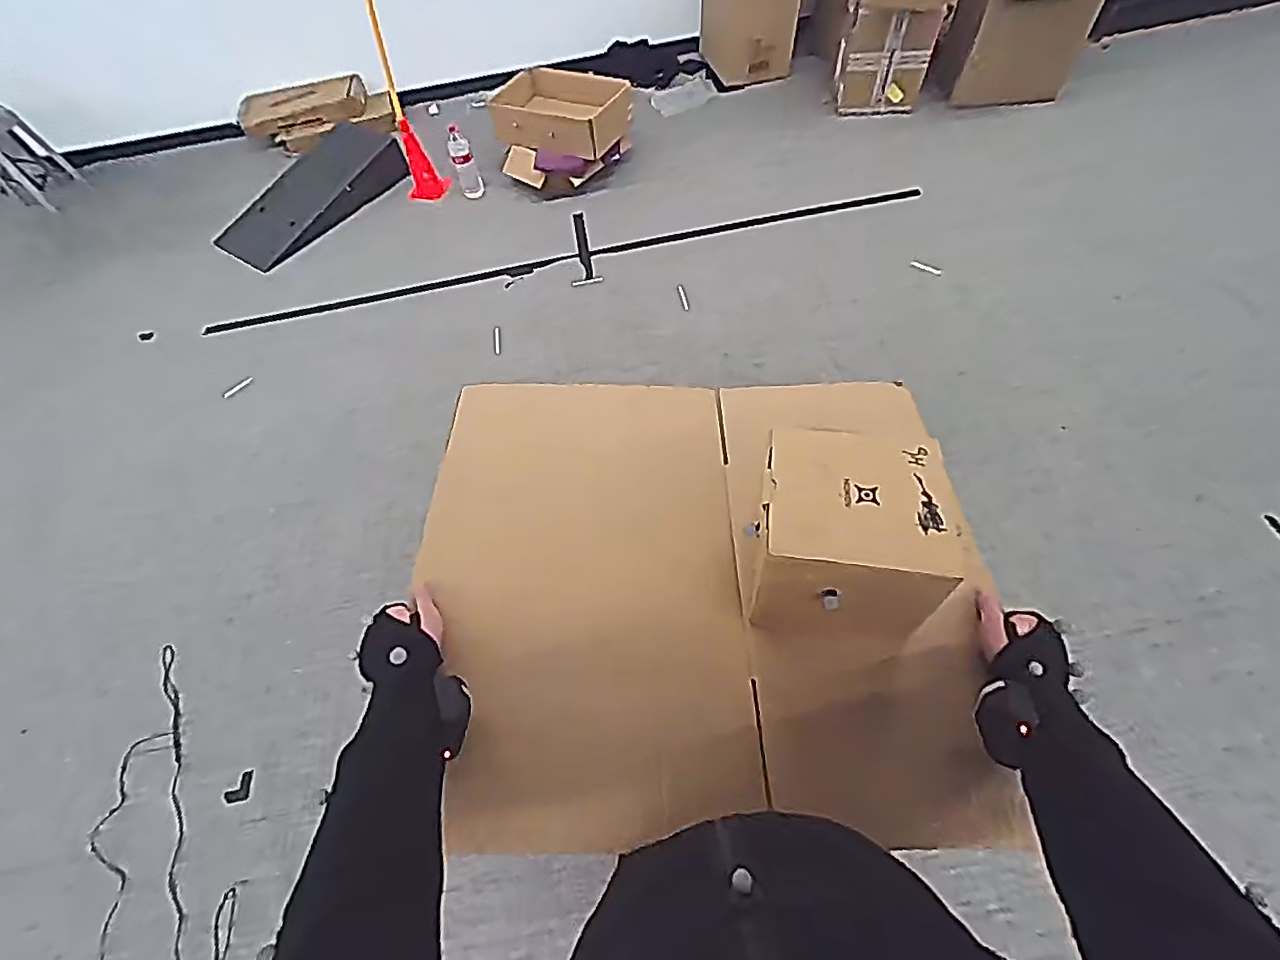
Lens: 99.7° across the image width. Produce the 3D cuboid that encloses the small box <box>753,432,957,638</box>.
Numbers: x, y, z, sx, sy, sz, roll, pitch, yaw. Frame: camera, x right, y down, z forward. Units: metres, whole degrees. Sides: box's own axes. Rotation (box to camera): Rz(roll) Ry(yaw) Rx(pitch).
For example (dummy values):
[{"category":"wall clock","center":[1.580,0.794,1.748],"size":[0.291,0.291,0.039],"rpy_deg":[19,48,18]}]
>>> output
[{"category":"small box","center":[0.224,0.066,0.611],"size":[0.179,0.176,0.168],"rpy_deg":[5,55,10]}]
